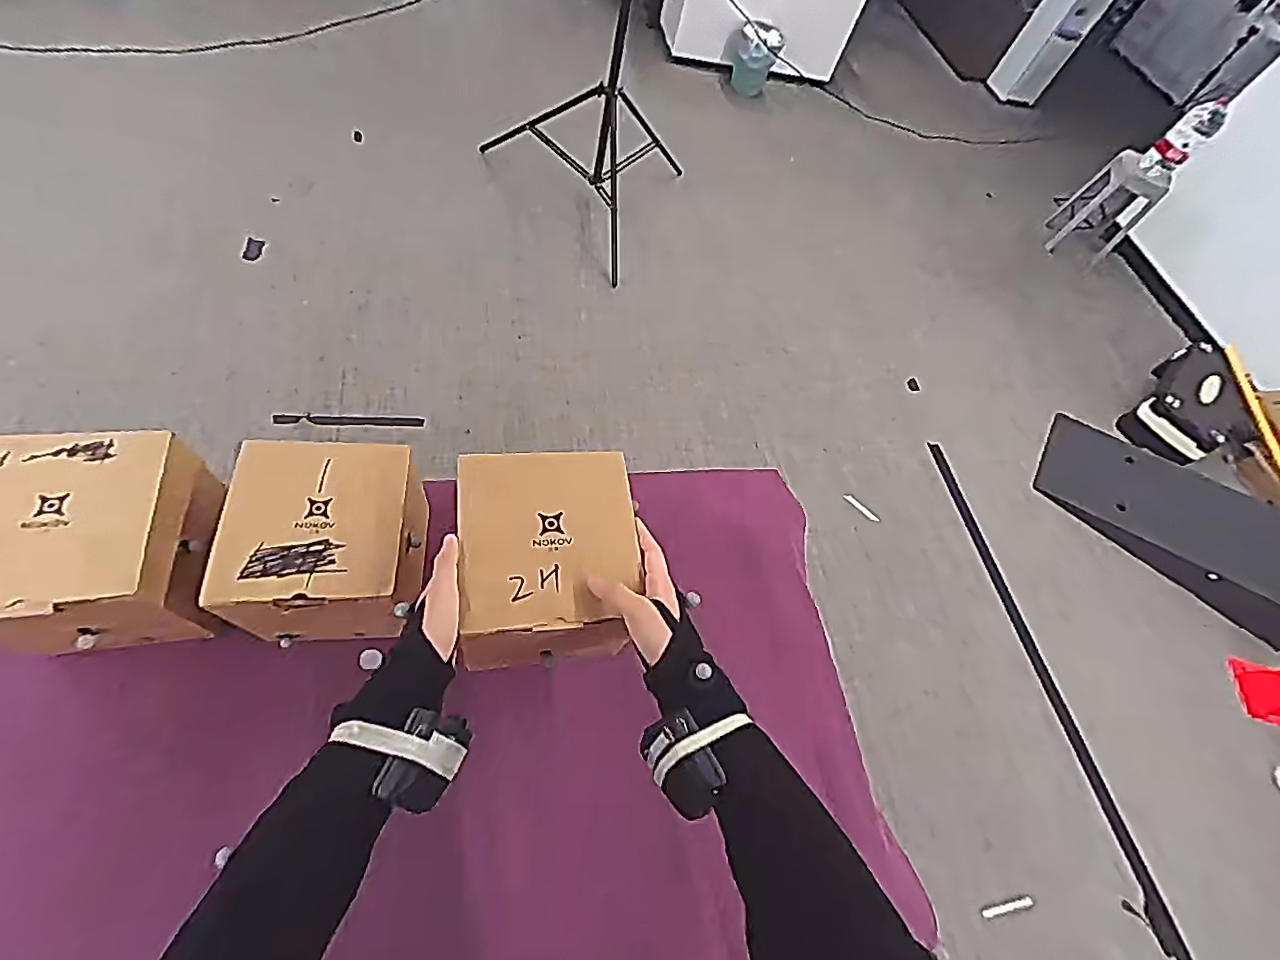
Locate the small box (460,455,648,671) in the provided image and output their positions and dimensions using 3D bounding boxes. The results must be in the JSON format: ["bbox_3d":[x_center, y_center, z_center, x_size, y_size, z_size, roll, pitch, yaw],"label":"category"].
[{"bbox_3d":[-0.101,0.090,0.573,0.168,0.176,0.179,-2,62,-15],"label":"small box"}]

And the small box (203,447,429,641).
[{"bbox_3d":[-0.340,0.081,0.612,0.168,0.176,0.179,1,61,-14],"label":"small box"}]
